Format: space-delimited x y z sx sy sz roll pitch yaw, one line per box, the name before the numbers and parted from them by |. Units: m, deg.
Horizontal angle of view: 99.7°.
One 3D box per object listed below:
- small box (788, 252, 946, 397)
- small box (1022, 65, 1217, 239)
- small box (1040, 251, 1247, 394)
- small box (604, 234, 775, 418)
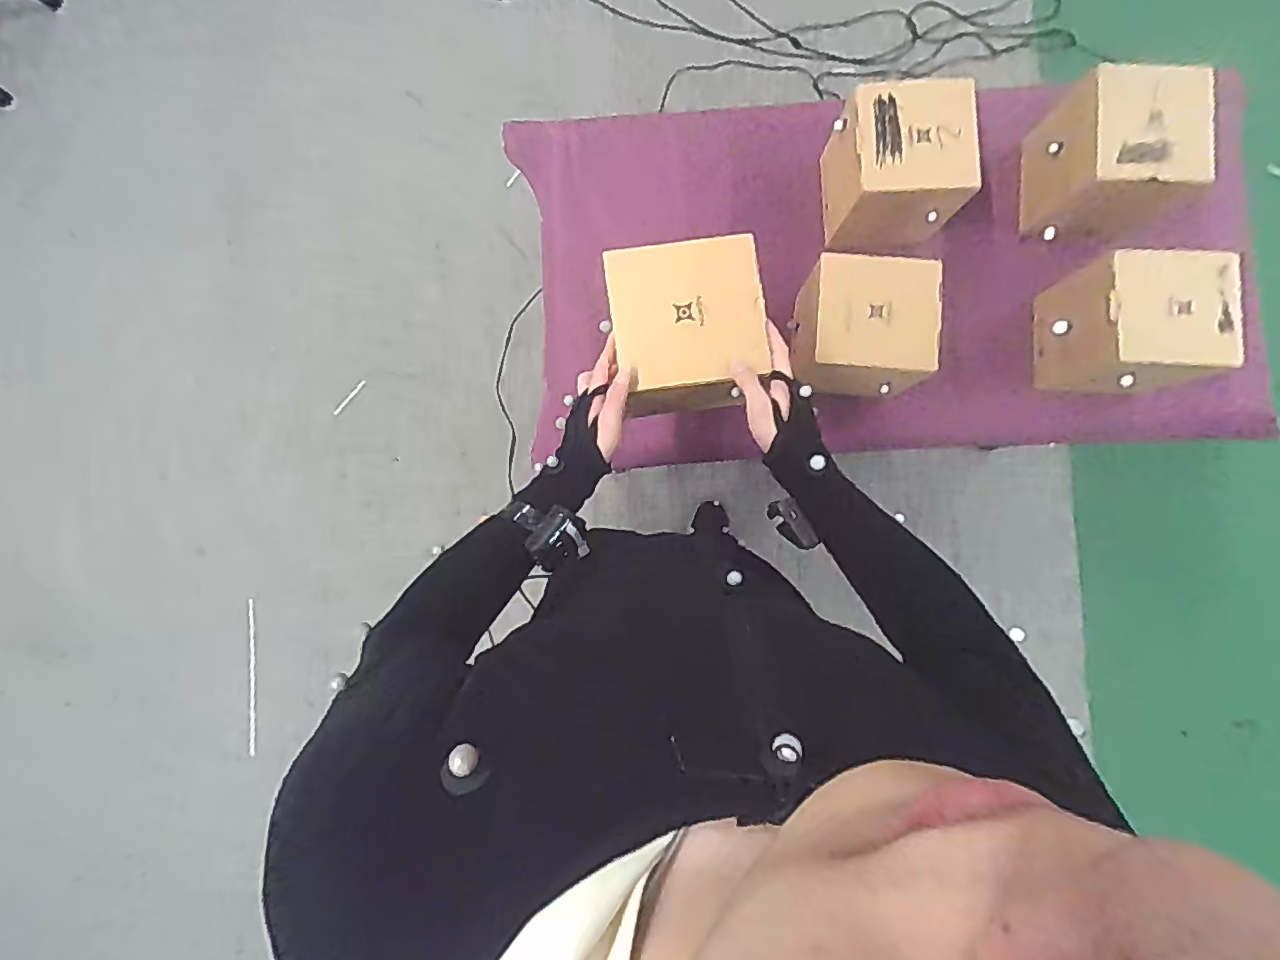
small box | 0.345 -0.232 0.847 0.179 0.176 0.168 5 85 3
small box | 0.739 -0.503 0.852 0.168 0.176 0.179 4 86 2
small box | 0.755 -0.233 0.833 0.179 0.176 0.168 2 86 3
small box | 0.053 -0.180 0.680 0.179 0.176 0.168 -7 86 -2
